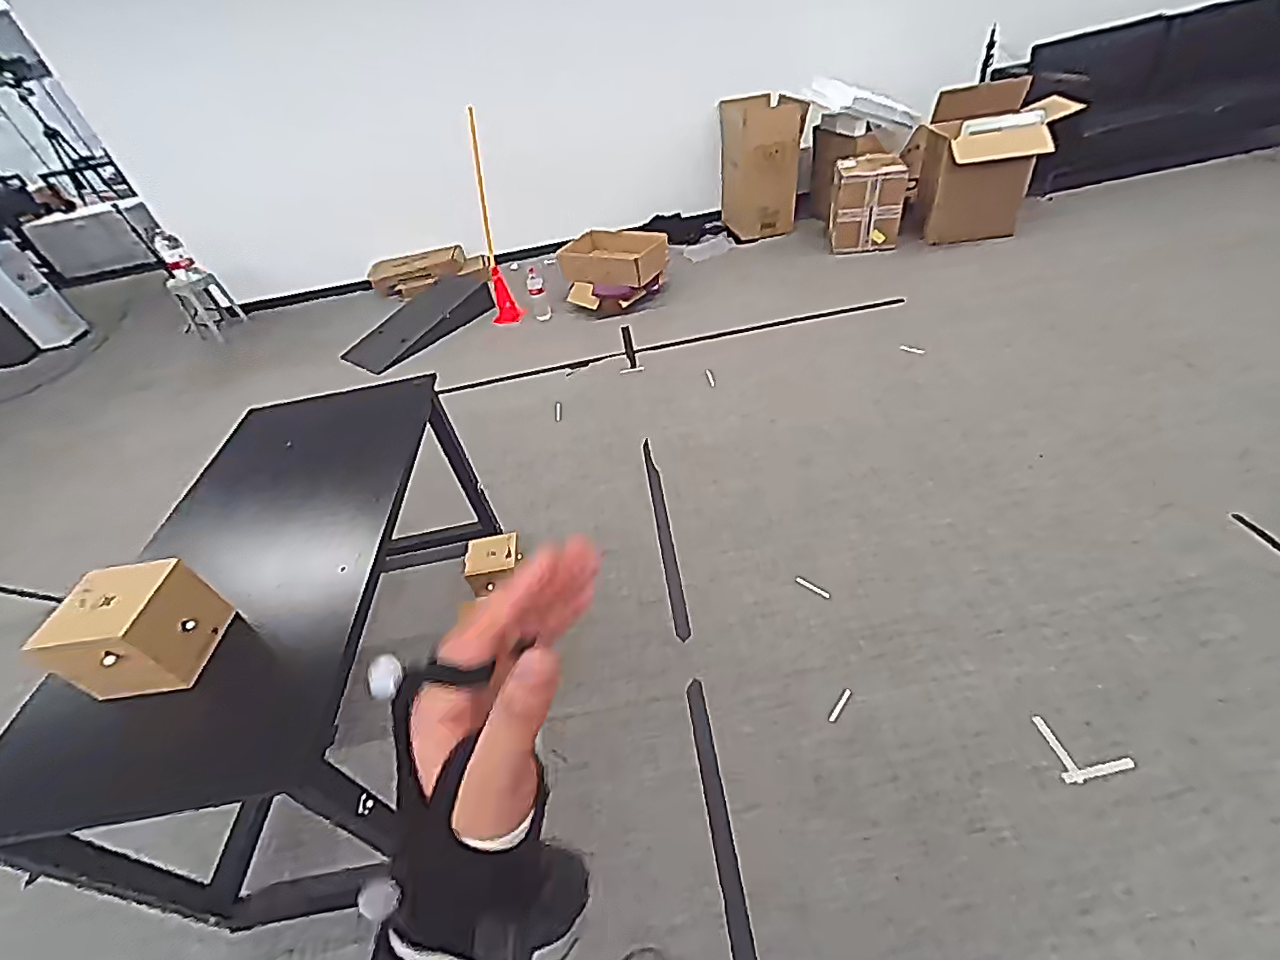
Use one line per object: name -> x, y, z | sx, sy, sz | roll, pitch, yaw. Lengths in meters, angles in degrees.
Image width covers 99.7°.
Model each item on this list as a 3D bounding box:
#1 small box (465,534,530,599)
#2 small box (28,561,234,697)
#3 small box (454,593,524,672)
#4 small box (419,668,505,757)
small box -> -0.504, 0.322, 1.933 | 0.179, 0.176, 0.168 | -12, 42, 0
small box -> -0.896, 0.271, 0.978 | 0.179, 0.176, 0.168 | -9, 41, 3
small box -> -0.478, 0.495, 1.738 | 0.168, 0.176, 0.179 | -12, 42, 1
small box -> -0.501, 0.669, 1.548 | 0.179, 0.176, 0.168 | -11, 42, 0
